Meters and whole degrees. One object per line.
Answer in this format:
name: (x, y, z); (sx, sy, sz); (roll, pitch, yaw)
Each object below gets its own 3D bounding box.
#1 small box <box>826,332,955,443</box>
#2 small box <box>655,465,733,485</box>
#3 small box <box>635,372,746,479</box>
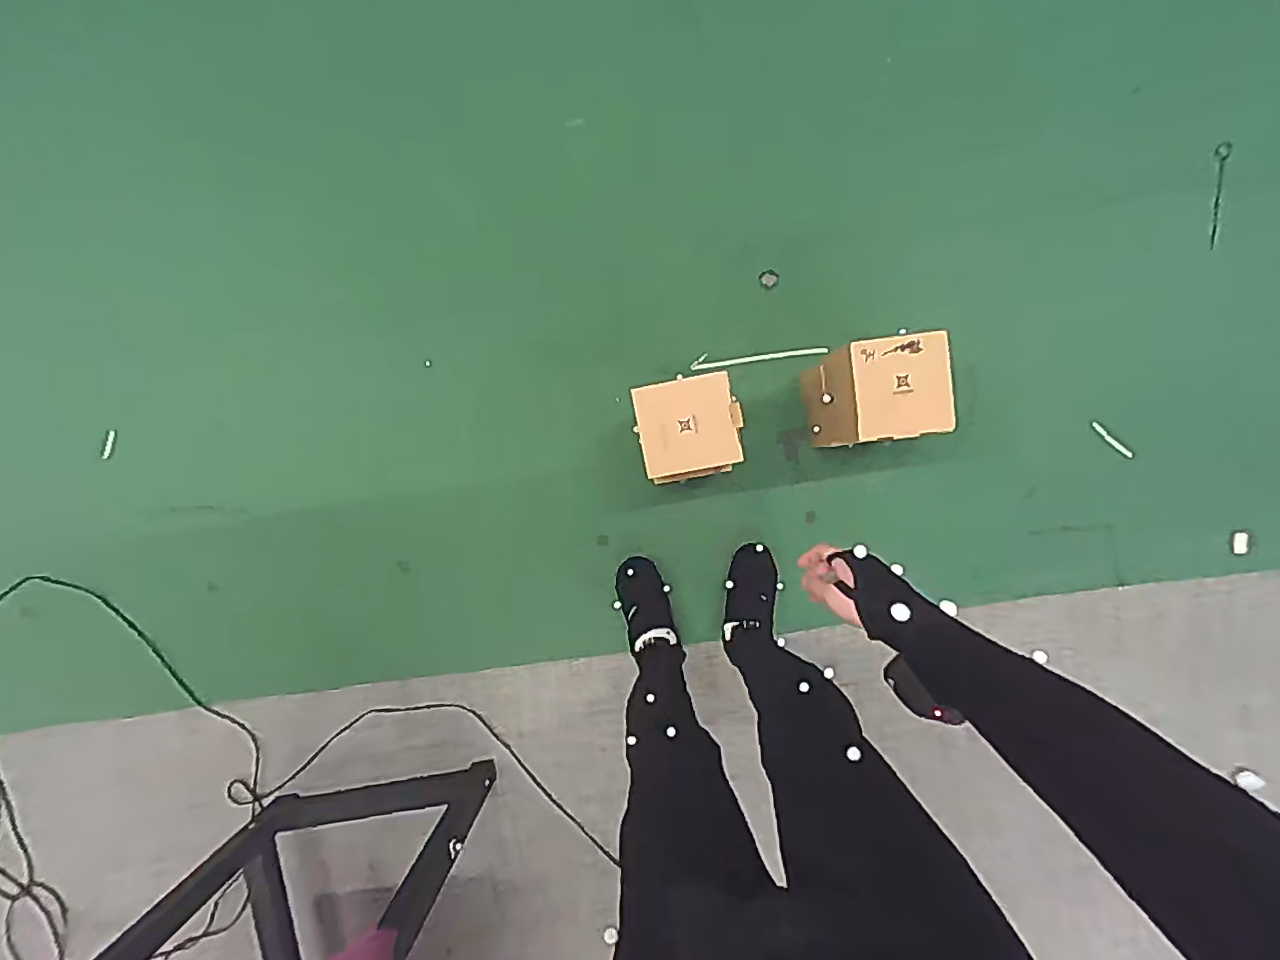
small box: (0.456, -0.165, 1.003); (0.168, 0.176, 0.179); (-6, 94, 2)
small box: (0.103, -0.093, 1.191); (0.168, 0.176, 0.179); (-11, 92, 4)
small box: (0.093, -0.101, 1.029); (0.179, 0.176, 0.168); (-11, 91, 4)
